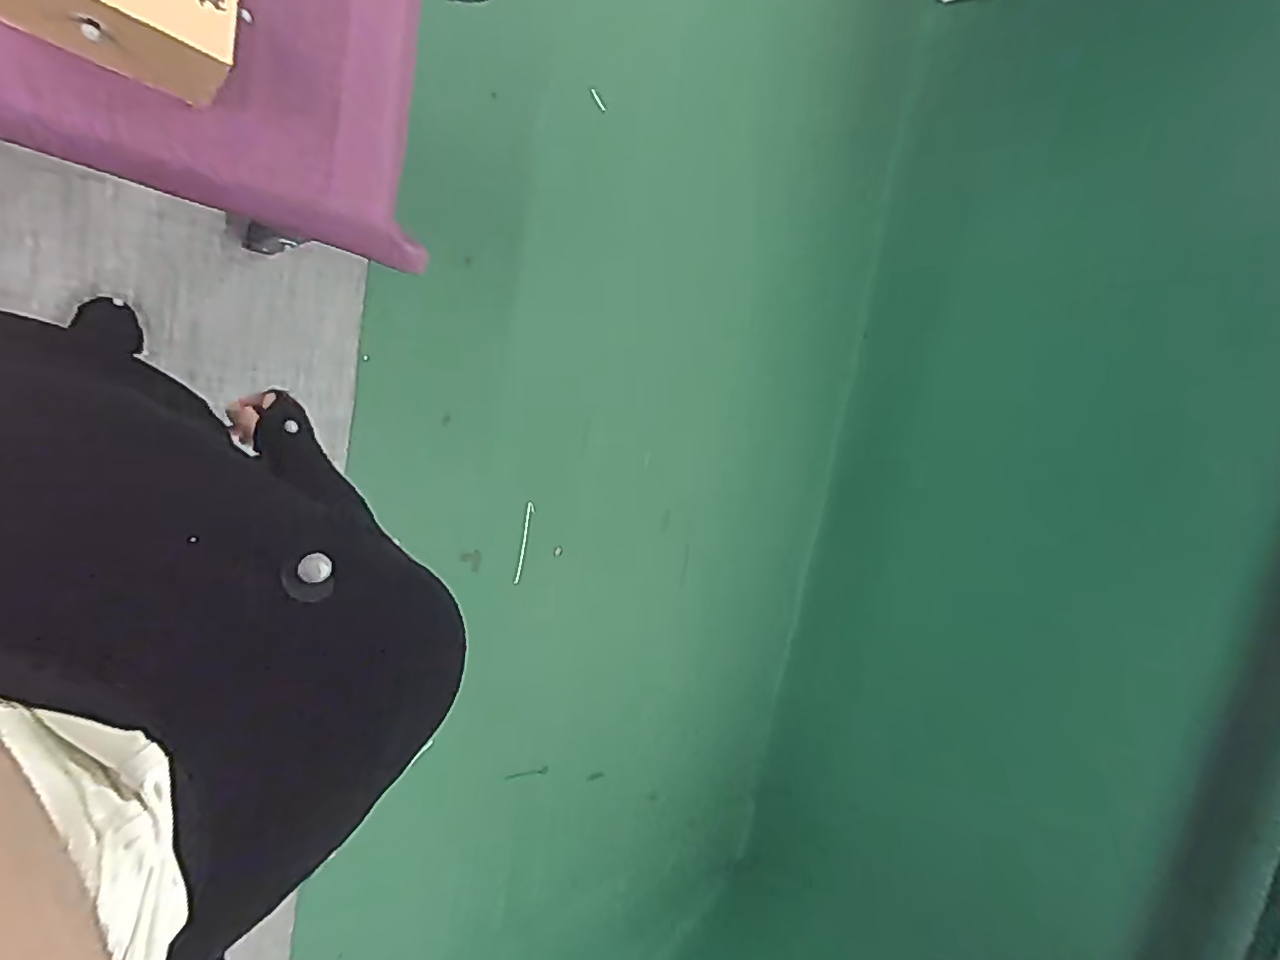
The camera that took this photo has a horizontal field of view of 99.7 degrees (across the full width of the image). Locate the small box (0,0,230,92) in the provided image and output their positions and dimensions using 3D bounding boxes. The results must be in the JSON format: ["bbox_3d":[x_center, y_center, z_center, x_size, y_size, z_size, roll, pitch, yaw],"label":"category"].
[{"bbox_3d":[-0.522,-0.529,0.534,0.179,0.176,0.168,5,98,-46],"label":"small box"}]
